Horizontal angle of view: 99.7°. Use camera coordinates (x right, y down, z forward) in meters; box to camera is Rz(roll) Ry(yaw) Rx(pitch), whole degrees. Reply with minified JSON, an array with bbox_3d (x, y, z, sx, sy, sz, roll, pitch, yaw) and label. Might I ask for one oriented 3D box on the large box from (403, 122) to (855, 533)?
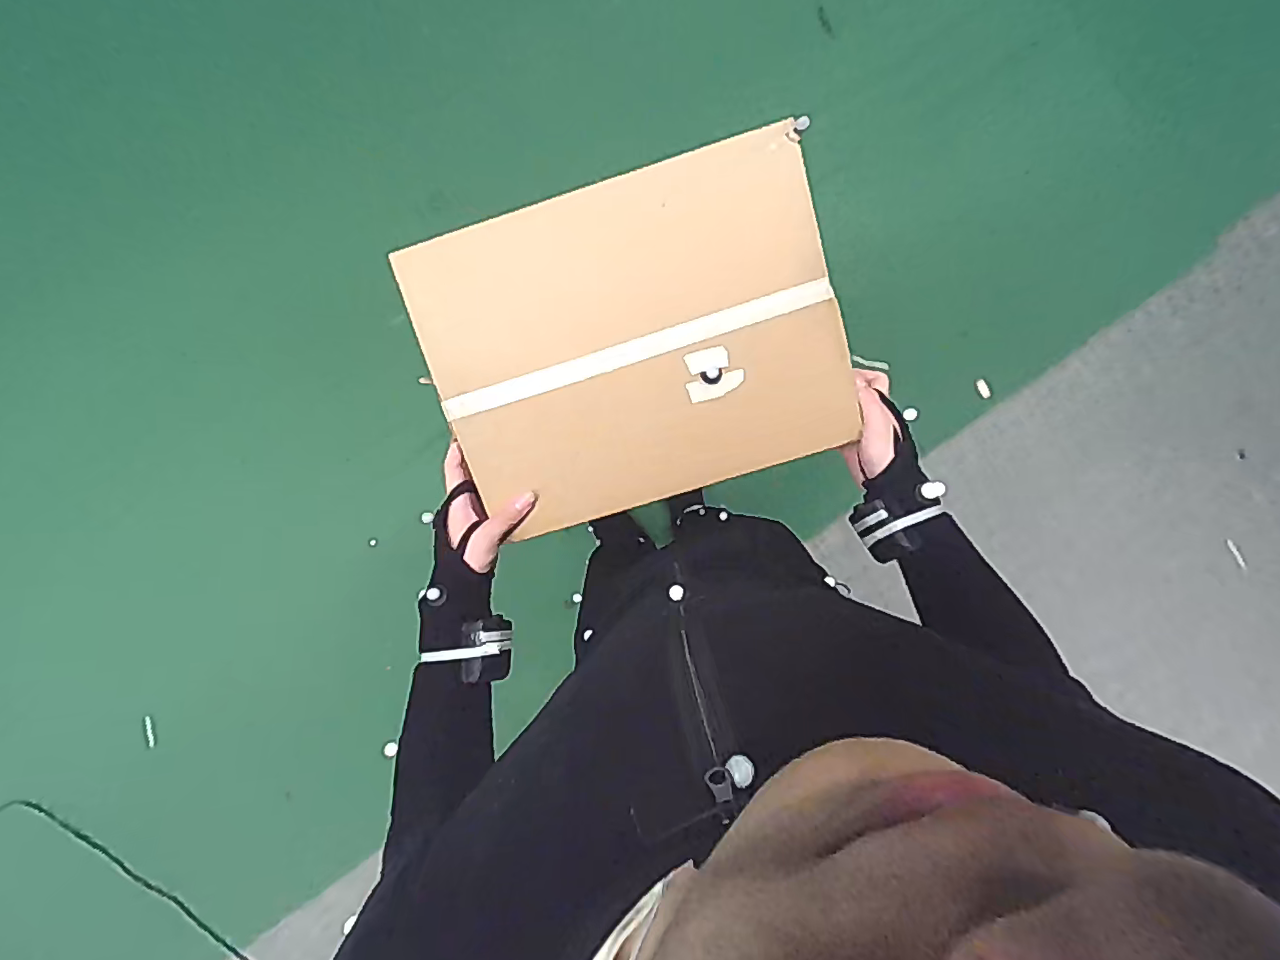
[{"bbox_3d":[-0.007,-0.168,0.697,0.408,0.320,0.320,-17,102,3],"label":"large box"}]
